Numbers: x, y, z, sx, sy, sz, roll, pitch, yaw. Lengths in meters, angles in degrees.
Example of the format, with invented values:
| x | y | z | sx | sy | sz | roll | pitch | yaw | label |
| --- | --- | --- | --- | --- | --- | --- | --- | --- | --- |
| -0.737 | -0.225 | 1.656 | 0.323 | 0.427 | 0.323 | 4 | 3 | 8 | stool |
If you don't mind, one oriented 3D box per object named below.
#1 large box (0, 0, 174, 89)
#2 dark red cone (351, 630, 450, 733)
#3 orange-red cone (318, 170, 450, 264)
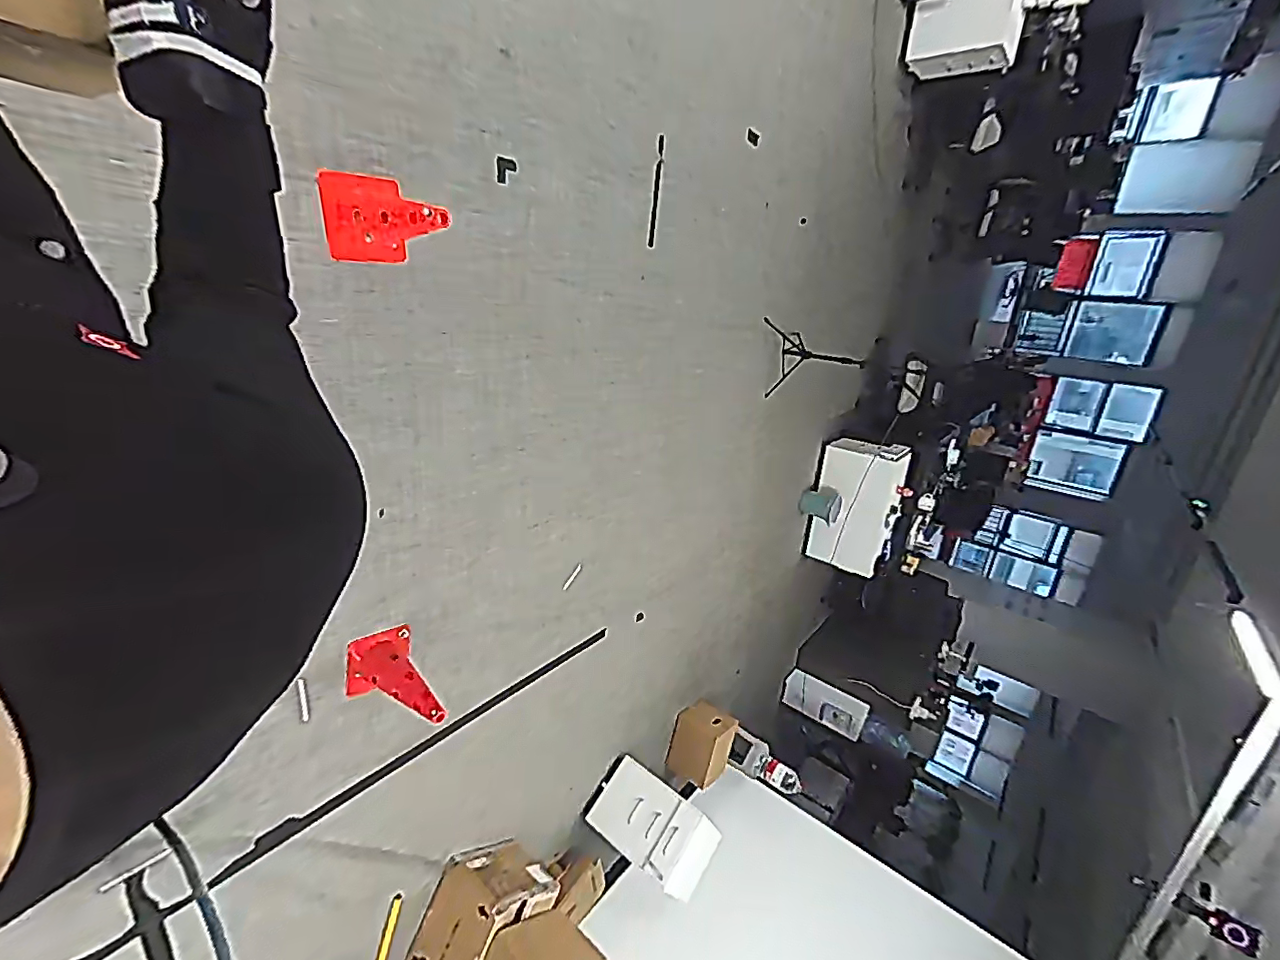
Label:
| x | y | z | sx | sy | sz | roll | pitch | yaw | label |
| --- | --- | --- | --- | --- | --- | --- | --- | --- | --- |
| -0.549 | -0.448 | 0.264 | 0.408 | 0.320 | 0.320 | -17 | 123 | -49 | large box |
| -0.691 | 0.632 | 1.620 | 0.201 | 0.394 | 0.202 | -10 | 113 | -50 | dark red cone |
| -0.559 | -0.609 | 1.254 | 0.198 | 0.360 | 0.199 | -22 | 121 | -48 | orange-red cone |
